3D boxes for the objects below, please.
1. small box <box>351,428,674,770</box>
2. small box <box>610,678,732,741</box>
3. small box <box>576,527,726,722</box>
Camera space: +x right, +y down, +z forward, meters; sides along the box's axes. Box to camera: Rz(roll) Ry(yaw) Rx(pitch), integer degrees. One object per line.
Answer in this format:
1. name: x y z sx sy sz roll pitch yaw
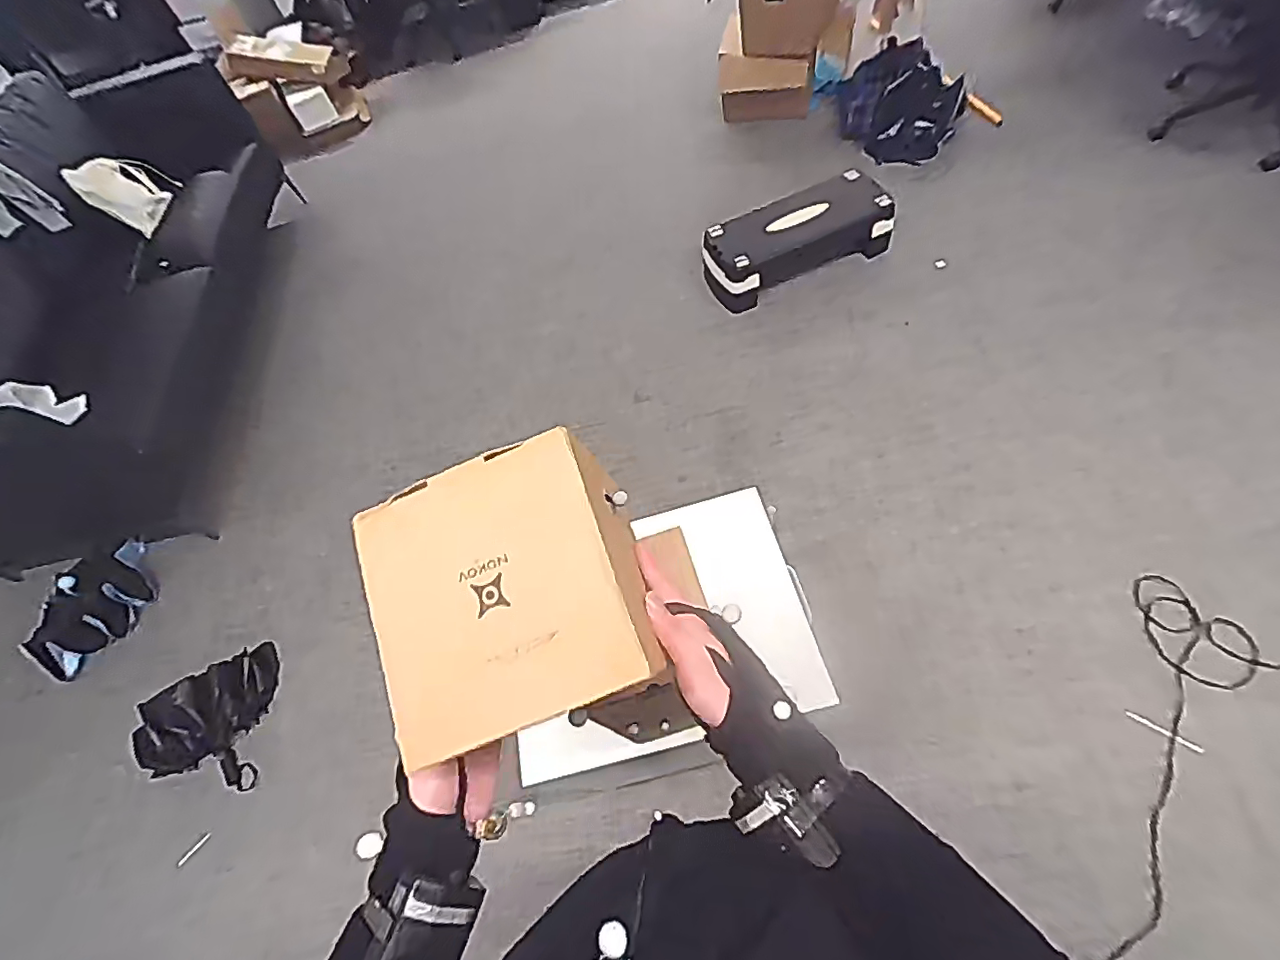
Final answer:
1. small box: -0.084 0.090 0.424 0.168 0.176 0.179 -24 74 3
2. small box: 0.032 0.274 0.816 0.168 0.176 0.179 -19 58 0
3. small box: 0.004 0.189 0.676 0.168 0.176 0.179 -18 57 0
